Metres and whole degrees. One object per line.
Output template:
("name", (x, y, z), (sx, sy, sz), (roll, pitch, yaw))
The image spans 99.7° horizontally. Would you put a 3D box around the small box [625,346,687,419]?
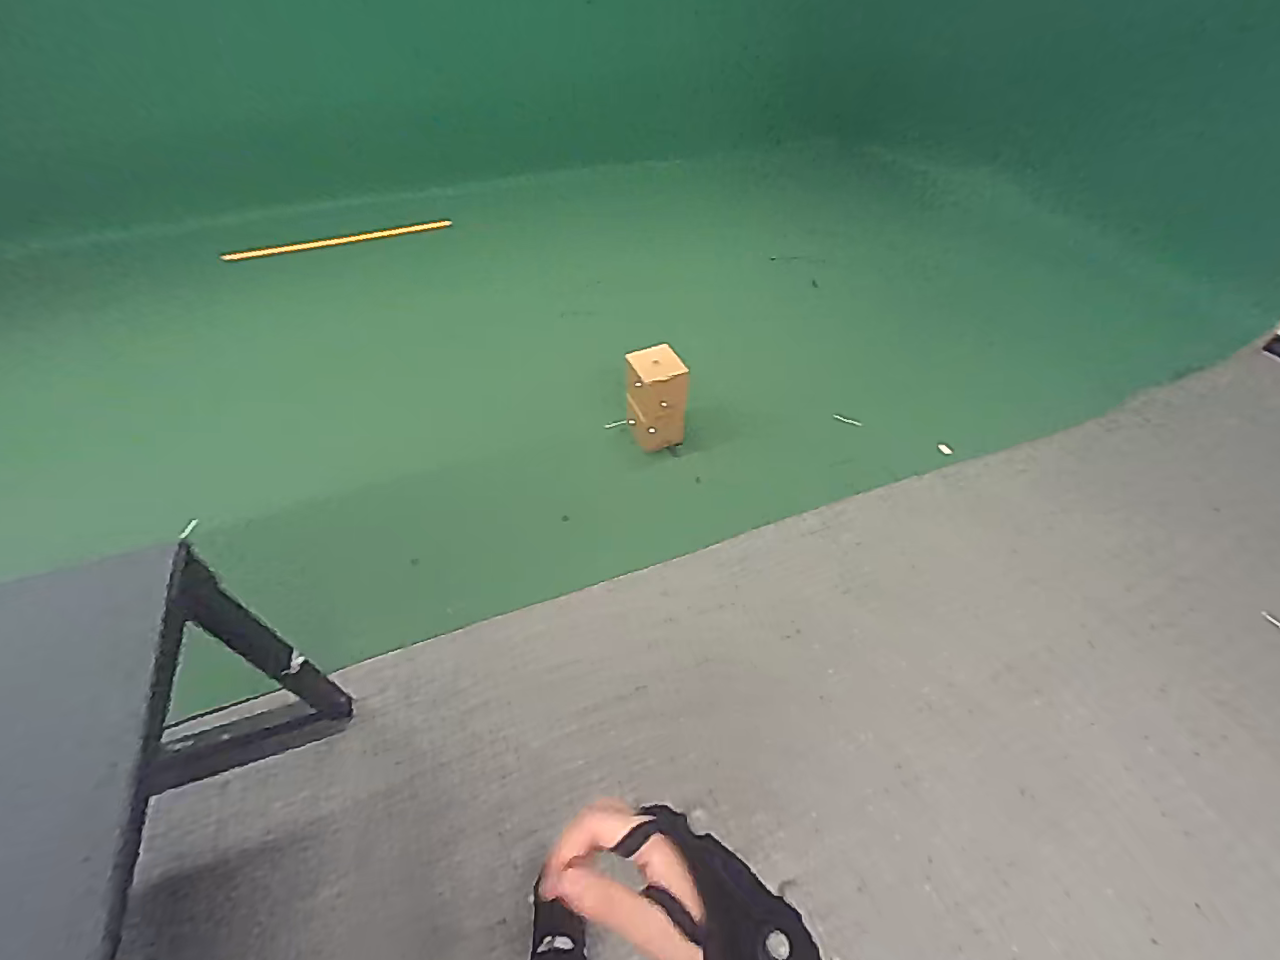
("small box", (0.051, -0.348, 1.933), (0.168, 0.176, 0.179), (-19, 52, -17))
